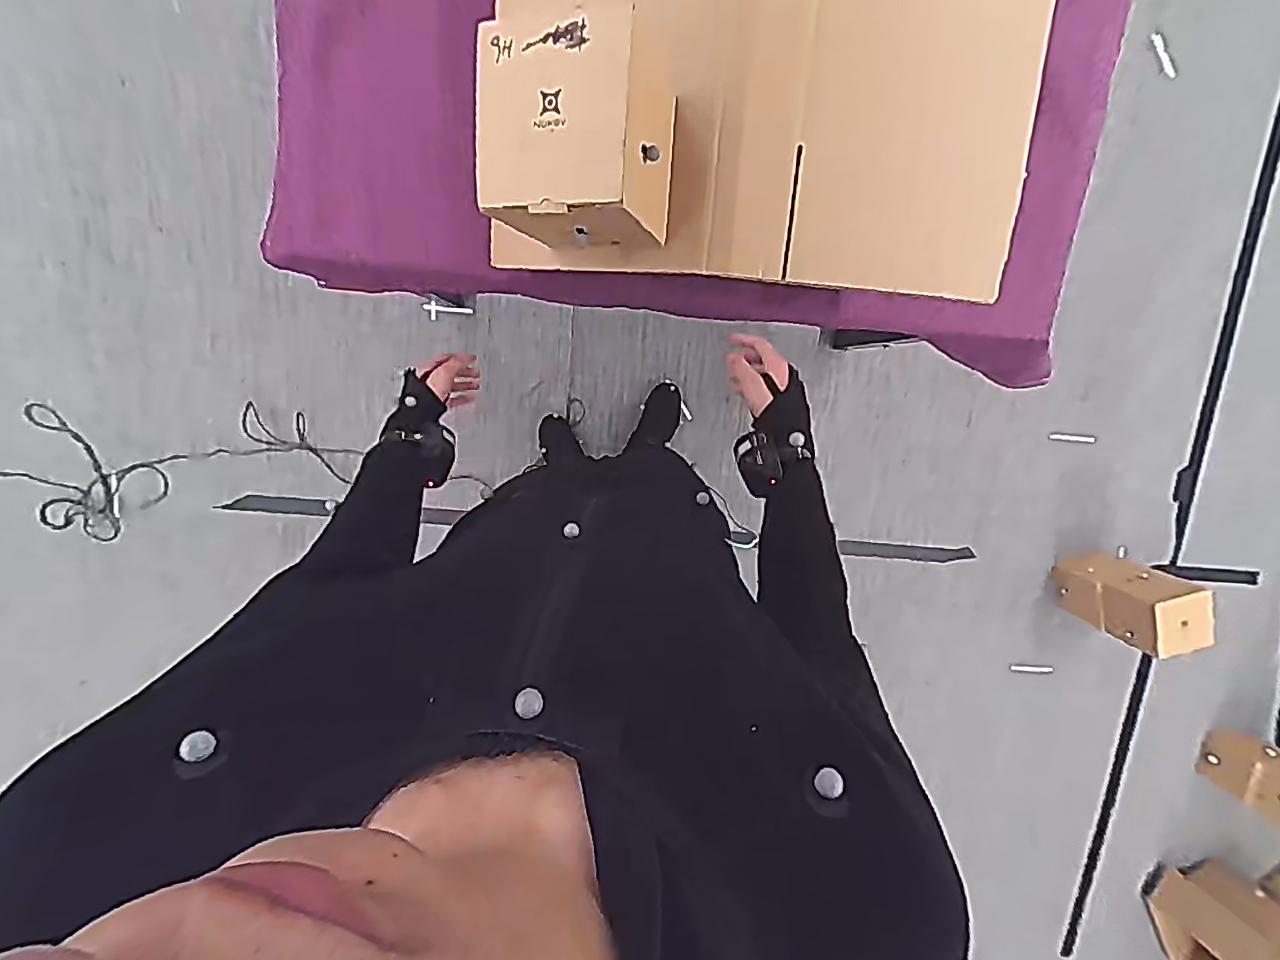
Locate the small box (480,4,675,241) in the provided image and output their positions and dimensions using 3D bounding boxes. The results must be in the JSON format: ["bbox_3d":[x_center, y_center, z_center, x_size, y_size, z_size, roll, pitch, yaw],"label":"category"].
[{"bbox_3d":[-0.062,-0.377,0.611,0.168,0.176,0.179,7,102,16],"label":"small box"}]
